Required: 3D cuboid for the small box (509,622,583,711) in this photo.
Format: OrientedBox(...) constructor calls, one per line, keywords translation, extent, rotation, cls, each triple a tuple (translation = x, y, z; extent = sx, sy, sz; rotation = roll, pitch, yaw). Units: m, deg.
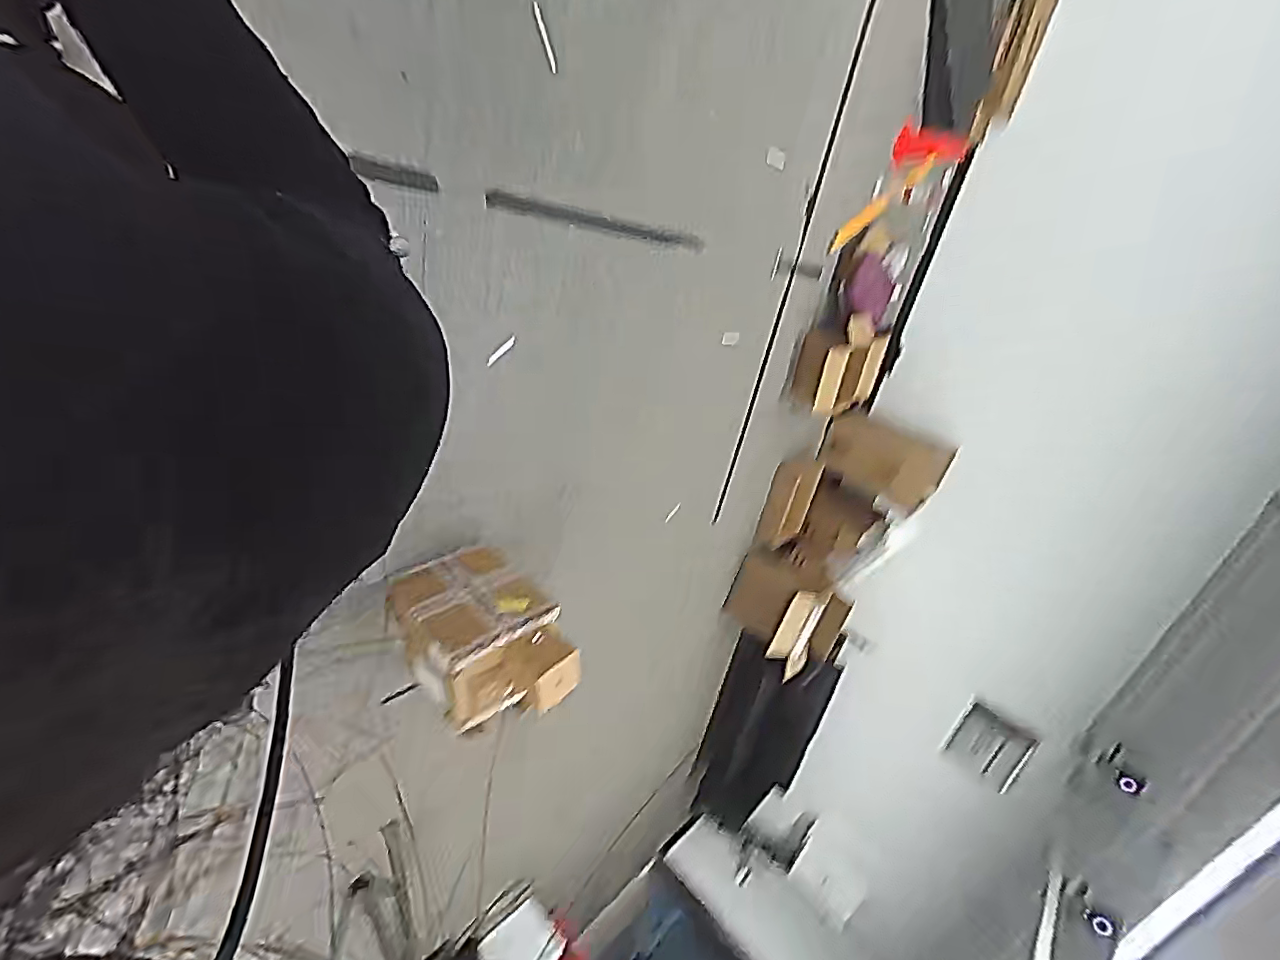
OrientedBox(translation=(-0.306, 0.602, 1.766), extent=(0.168, 0.176, 0.179), rotation=(-29, 132, -39), cls="small box")
